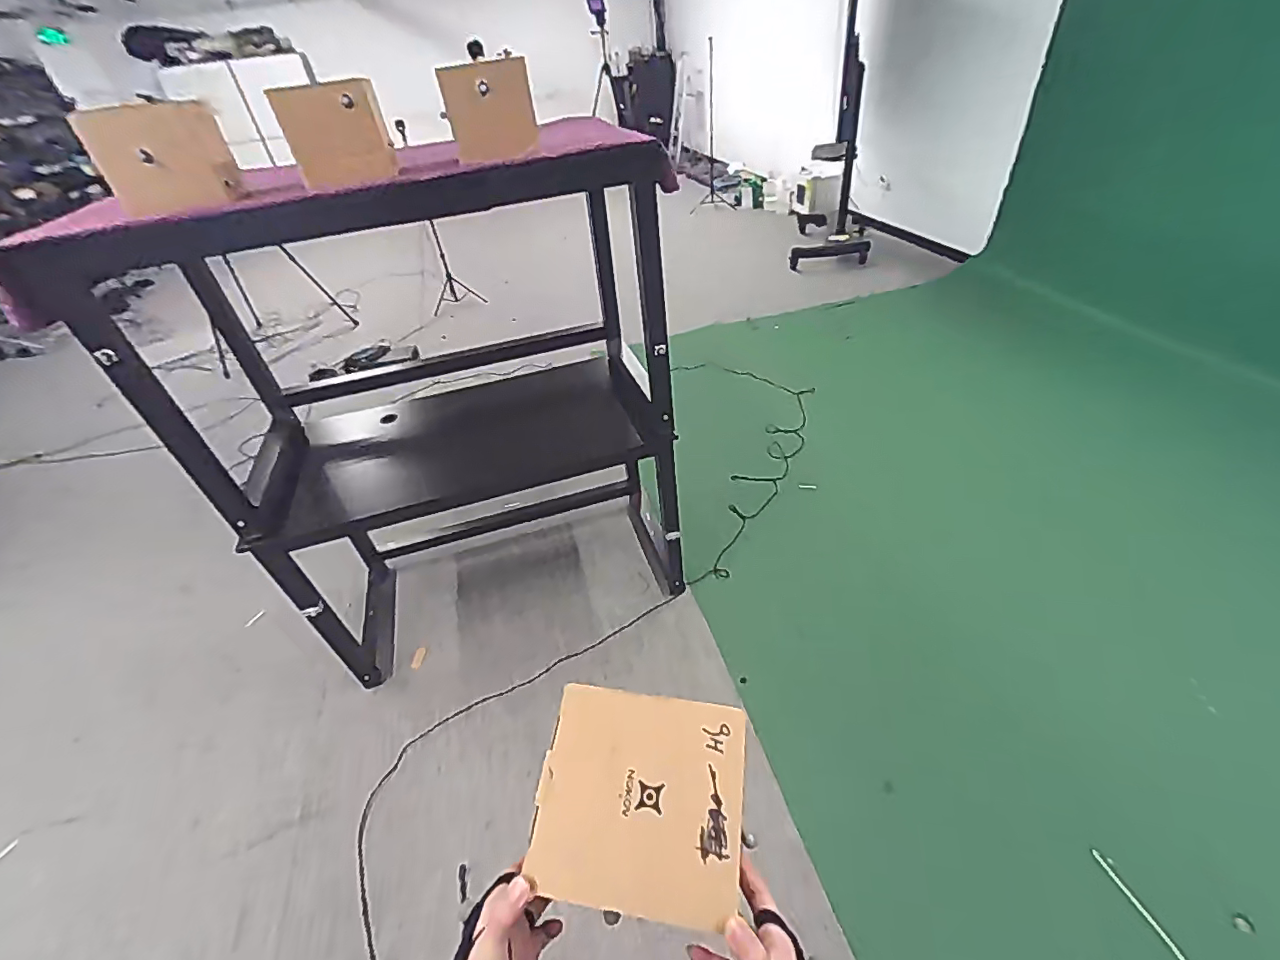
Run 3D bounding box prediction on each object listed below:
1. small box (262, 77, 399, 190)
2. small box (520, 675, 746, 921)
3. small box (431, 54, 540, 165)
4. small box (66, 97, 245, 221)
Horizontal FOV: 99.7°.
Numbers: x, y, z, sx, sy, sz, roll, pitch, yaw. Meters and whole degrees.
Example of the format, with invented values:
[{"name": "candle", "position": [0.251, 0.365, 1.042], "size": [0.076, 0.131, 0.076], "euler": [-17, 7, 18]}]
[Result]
[{"name": "small box", "position": [-0.613, -0.701, 1.096], "size": [0.179, 0.176, 0.168], "euler": [-15, 39, -10]}, {"name": "small box", "position": [0.007, 0.308, 0.531], "size": [0.179, 0.176, 0.168], "euler": [4, 55, 9]}, {"name": "small box", "position": [-0.320, -0.778, 1.139], "size": [0.179, 0.176, 0.168], "euler": [-14, 40, -7]}, {"name": "small box", "position": [-0.906, -0.617, 1.037], "size": [0.179, 0.176, 0.168], "euler": [-17, 40, -10]}]
